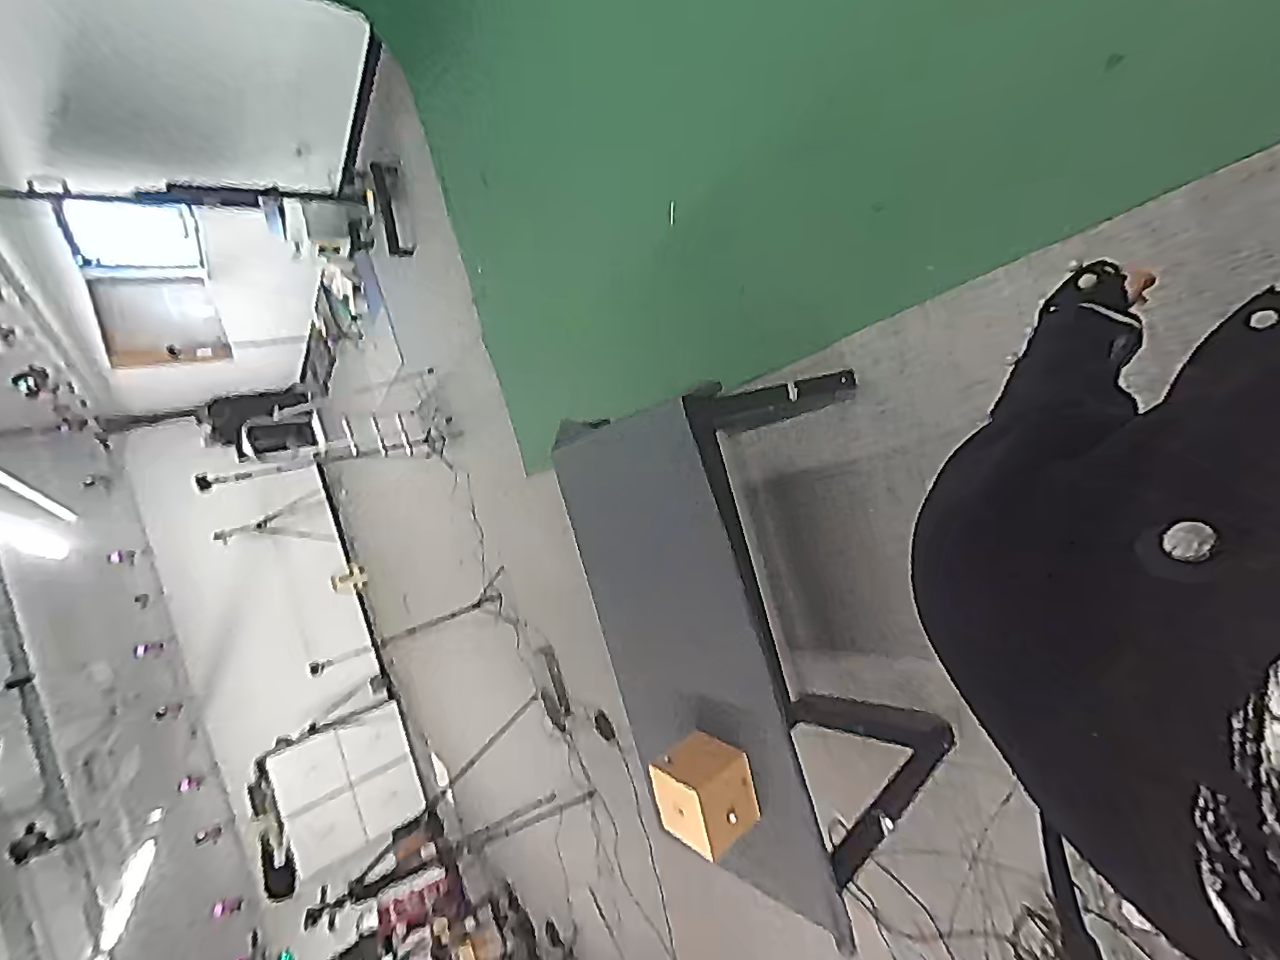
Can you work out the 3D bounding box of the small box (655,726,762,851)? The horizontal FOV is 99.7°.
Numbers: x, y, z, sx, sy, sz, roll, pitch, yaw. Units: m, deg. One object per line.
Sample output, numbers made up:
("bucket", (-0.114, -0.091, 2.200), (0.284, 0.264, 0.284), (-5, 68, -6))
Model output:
("small box", (0.169, 0.715, 1.280), (0.179, 0.176, 0.168), (-7, 98, 54))
